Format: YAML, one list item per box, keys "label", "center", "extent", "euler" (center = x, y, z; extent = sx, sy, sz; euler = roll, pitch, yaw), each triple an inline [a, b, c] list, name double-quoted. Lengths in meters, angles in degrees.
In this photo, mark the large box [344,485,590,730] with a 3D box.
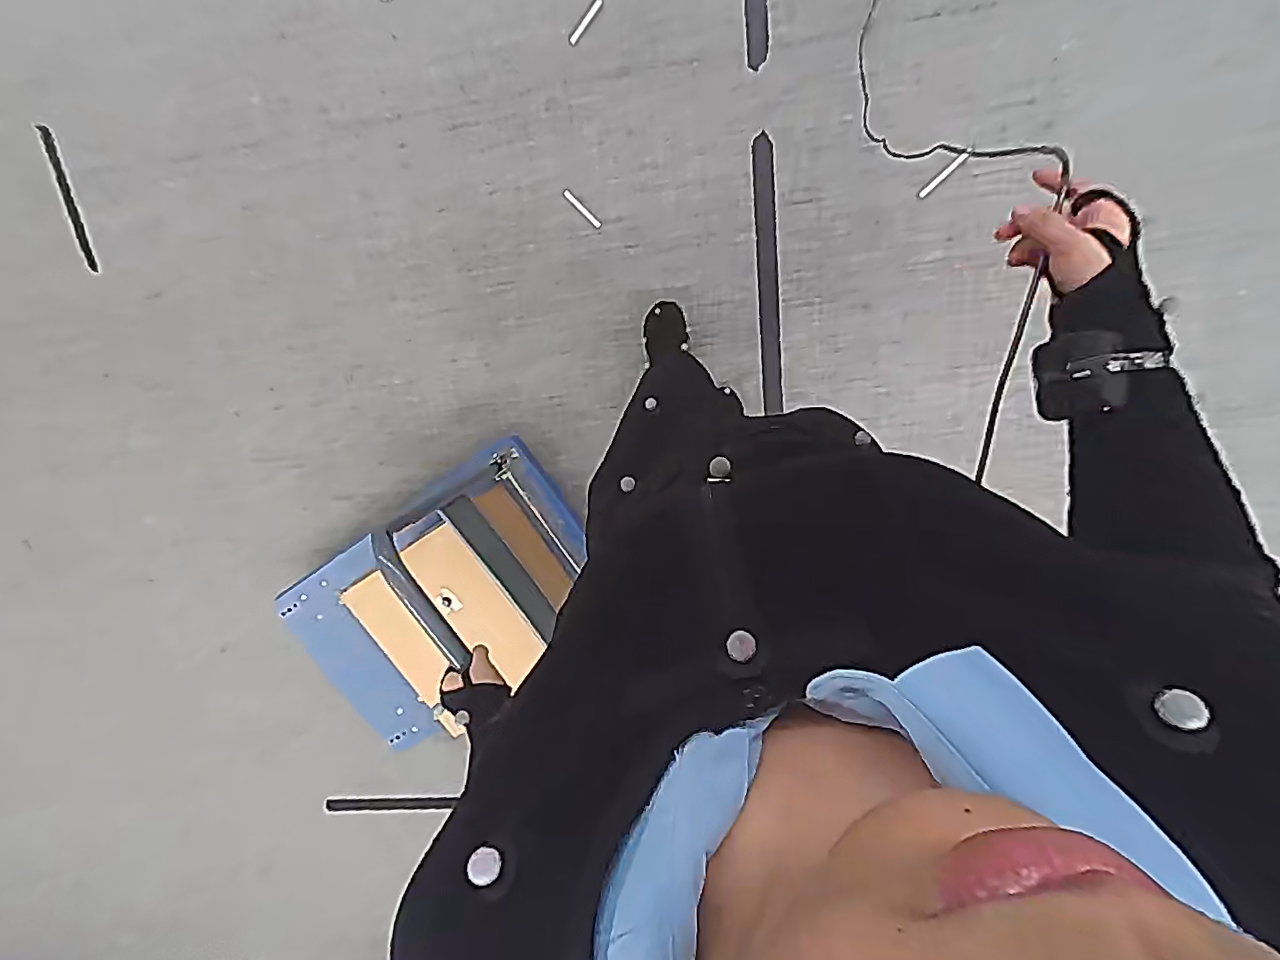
- label: "large box"
  center: [-0.375, 0.283, 1.279]
  extent: [0.320, 0.320, 0.408]
  euler: [-33, 98, 11]
